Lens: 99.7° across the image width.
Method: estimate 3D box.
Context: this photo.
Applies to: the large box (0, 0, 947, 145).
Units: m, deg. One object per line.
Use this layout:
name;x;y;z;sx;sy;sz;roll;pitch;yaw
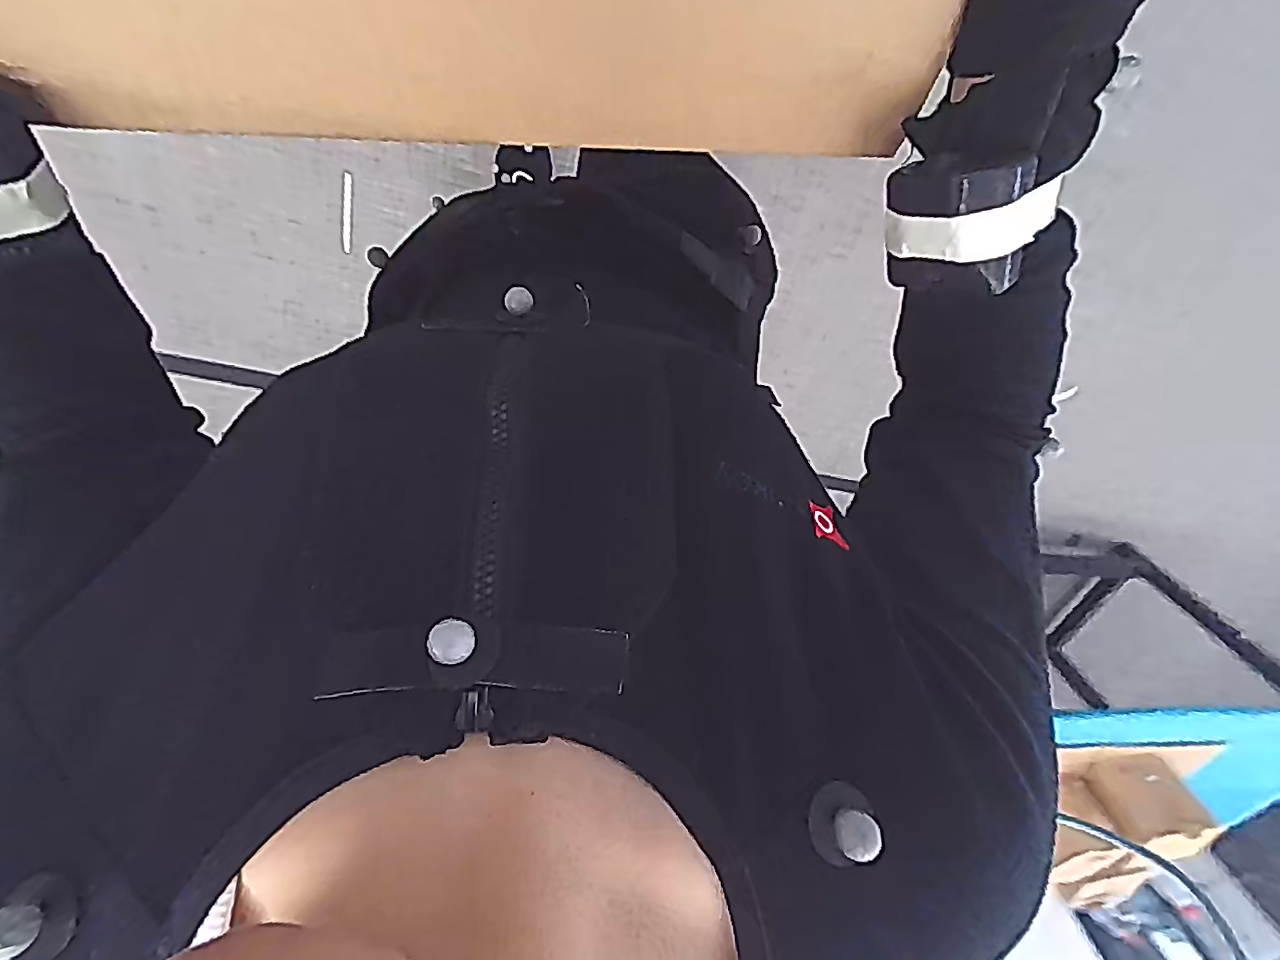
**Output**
large box;-0.070;-0.367;0.194;0.408;0.320;0.320;-4;154;-7
